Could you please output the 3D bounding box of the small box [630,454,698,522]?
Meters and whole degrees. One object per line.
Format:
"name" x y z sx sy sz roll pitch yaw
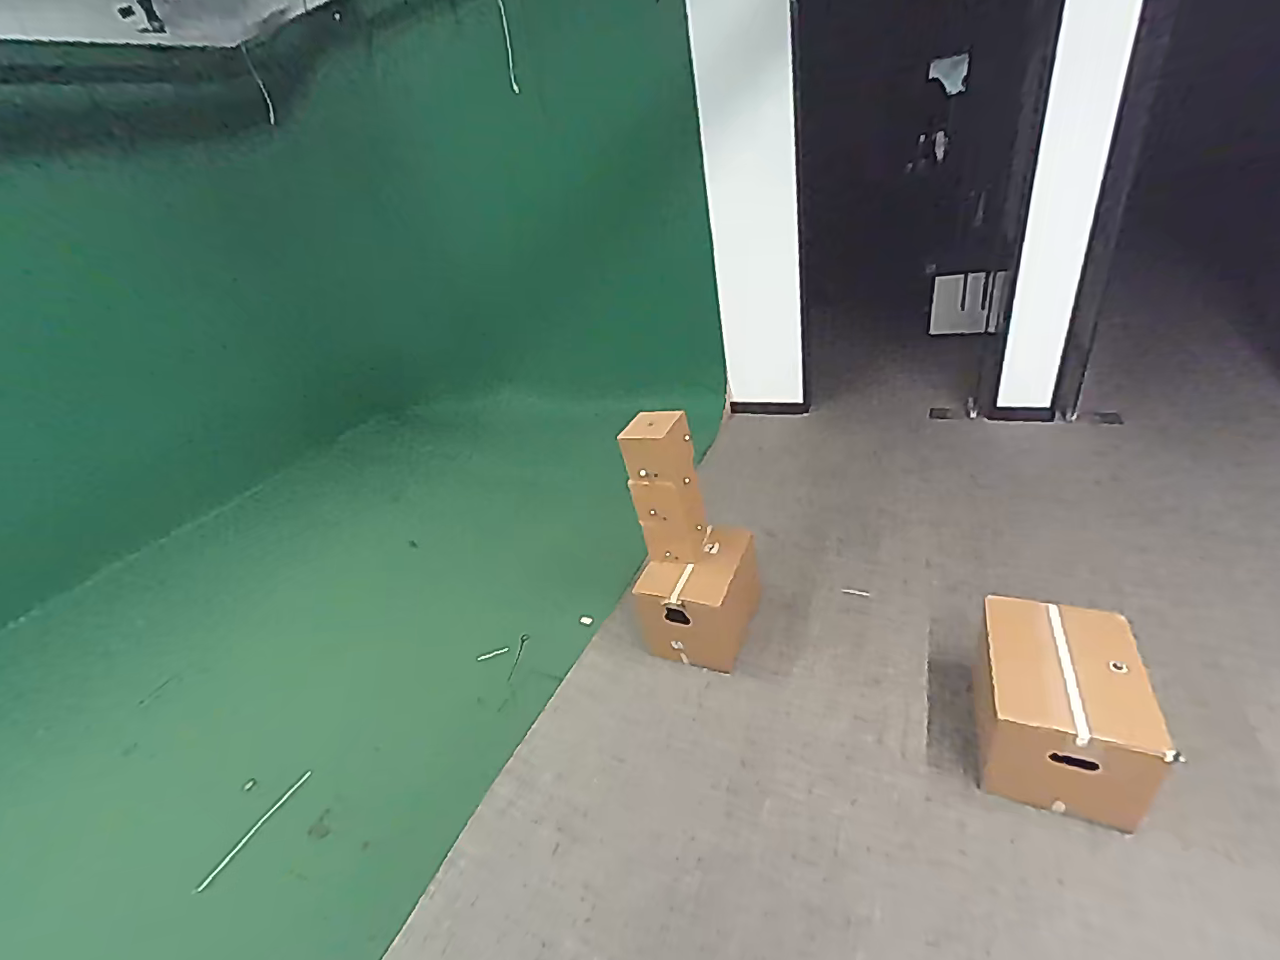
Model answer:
"small box" 0.089 0.020 1.833 0.168 0.176 0.179 1 35 28

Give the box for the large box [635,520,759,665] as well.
"large box" 0.222 0.396 1.964 0.320 0.320 0.408 4 34 27

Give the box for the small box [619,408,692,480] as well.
"small box" 0.058 -0.120 1.755 0.168 0.176 0.179 2 36 30
